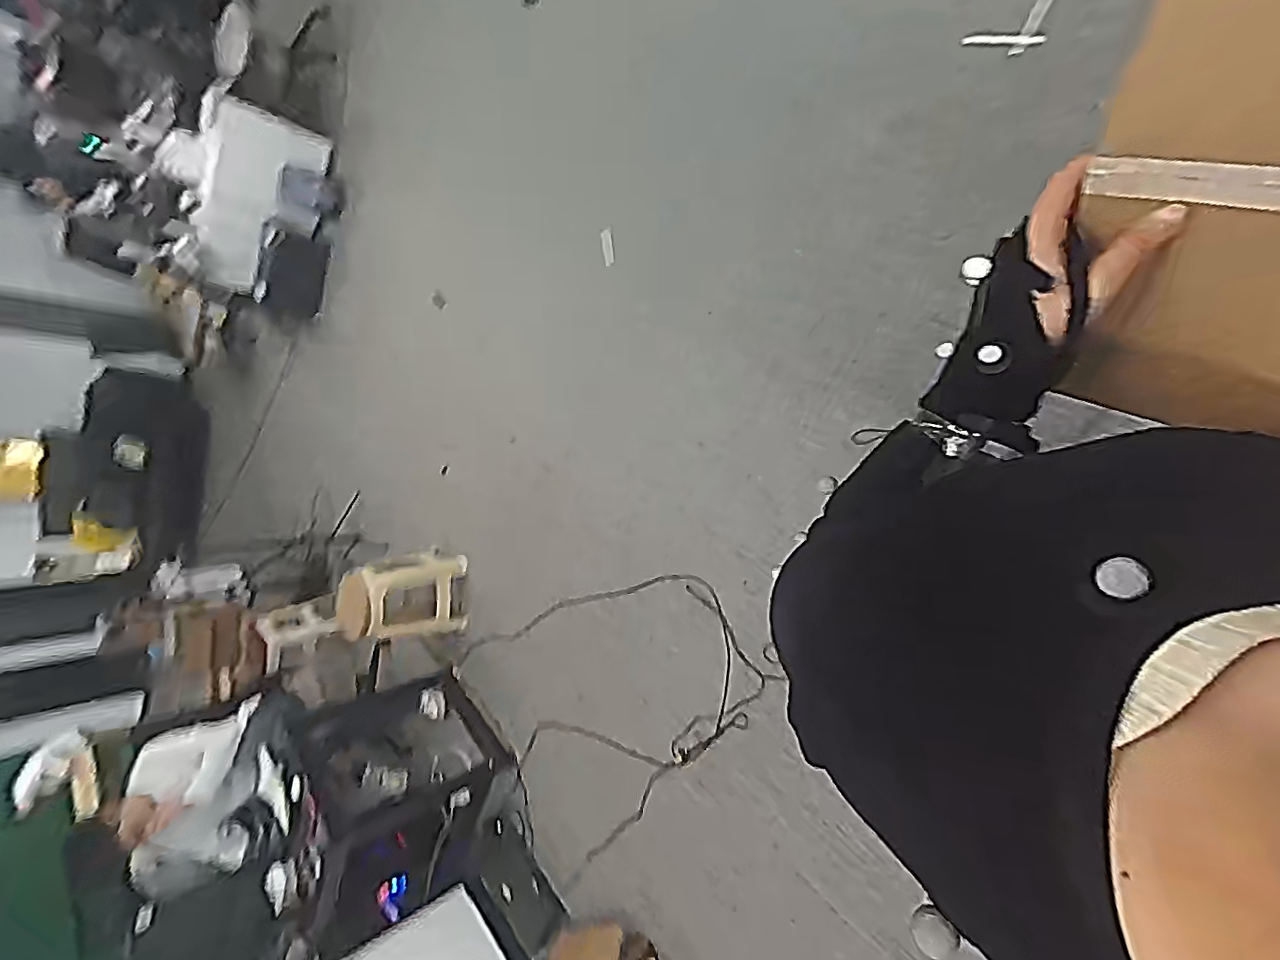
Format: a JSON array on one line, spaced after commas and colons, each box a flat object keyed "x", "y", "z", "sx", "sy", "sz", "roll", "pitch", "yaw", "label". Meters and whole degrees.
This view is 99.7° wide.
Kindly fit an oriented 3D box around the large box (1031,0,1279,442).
[{"x": 0.521, "y": -0.202, "z": 0.279, "sx": 0.408, "sy": 0.320, "sz": 0.320, "roll": 28, "pitch": 151, "yaw": 35, "label": "large box"}]
